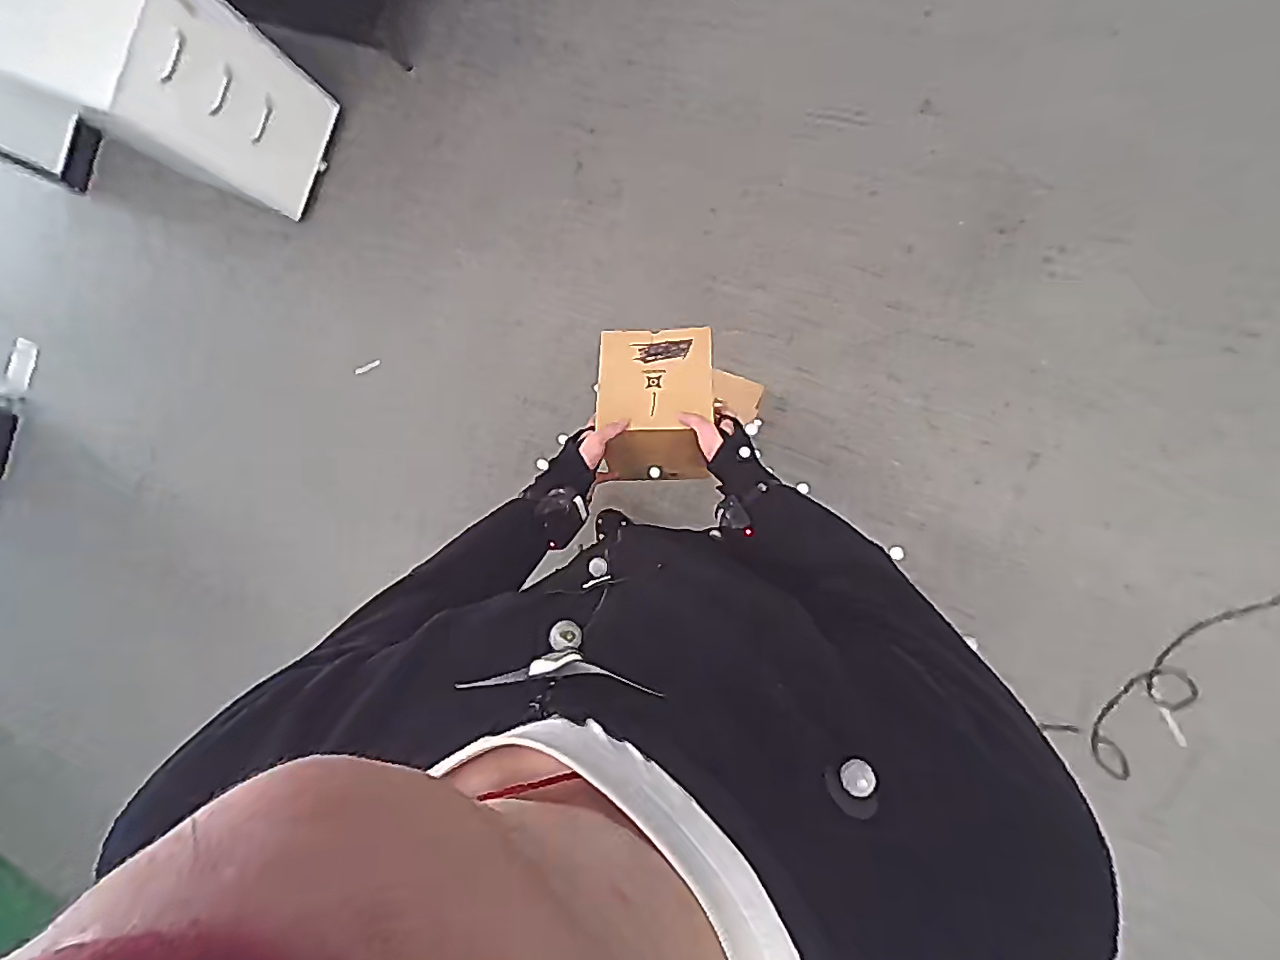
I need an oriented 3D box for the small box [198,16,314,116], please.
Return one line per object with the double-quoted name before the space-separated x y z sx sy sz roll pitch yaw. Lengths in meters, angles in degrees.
"small box" -1.092 -1.175 1.554 0.179 0.176 0.168 -26 33 8
